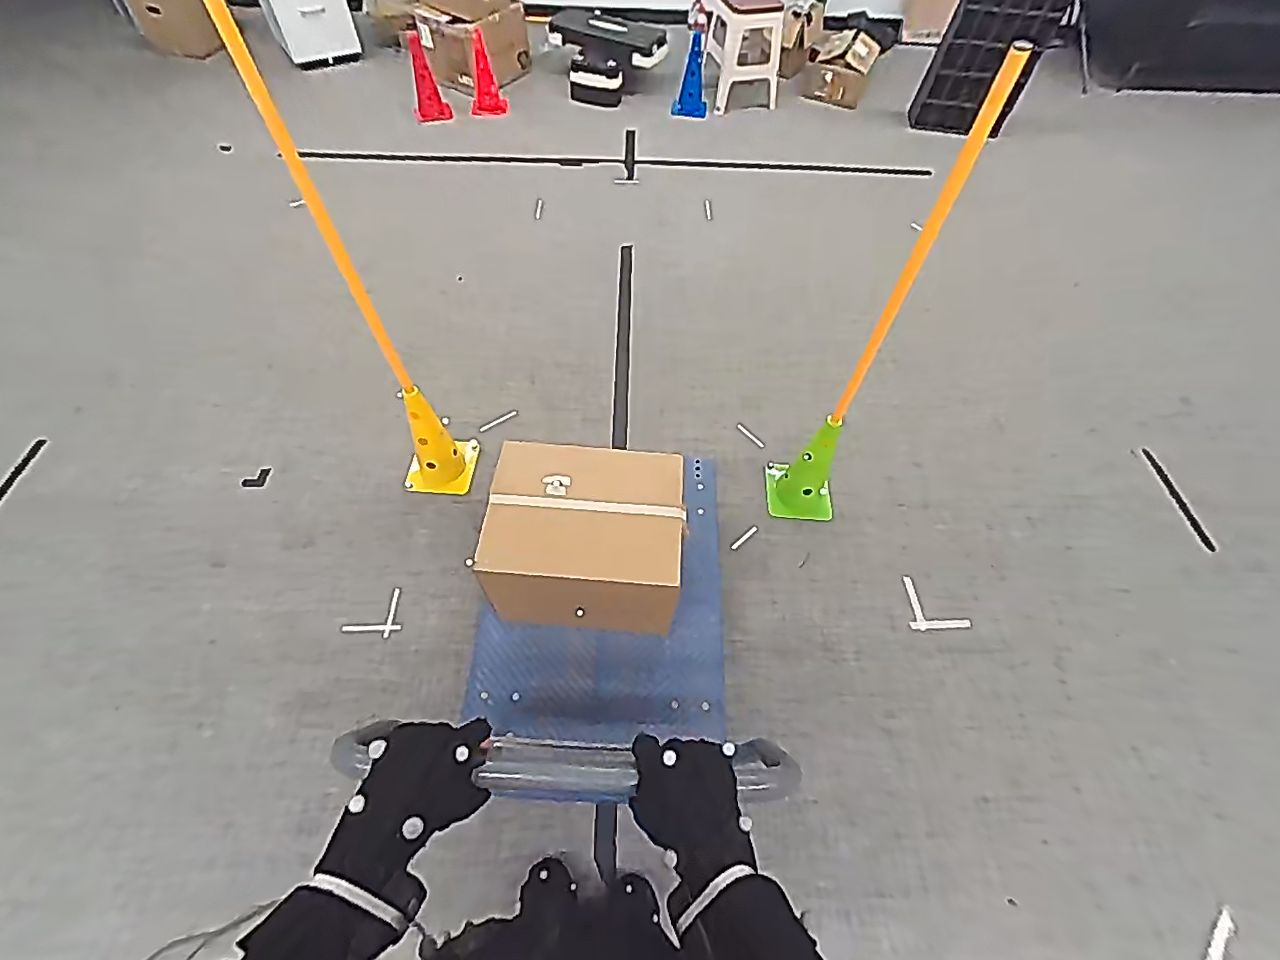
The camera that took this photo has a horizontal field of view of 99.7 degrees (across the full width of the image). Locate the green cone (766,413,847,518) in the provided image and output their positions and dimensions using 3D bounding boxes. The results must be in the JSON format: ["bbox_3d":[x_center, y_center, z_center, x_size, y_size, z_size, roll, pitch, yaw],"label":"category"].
[{"bbox_3d":[0.517,-0.063,1.585,0.202,0.368,0.200,5,57,-1],"label":"green cone"}]

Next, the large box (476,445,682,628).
[{"bbox_3d":[-0.114,0.141,1.252,0.408,0.320,0.320,5,57,1],"label":"large box"}]
